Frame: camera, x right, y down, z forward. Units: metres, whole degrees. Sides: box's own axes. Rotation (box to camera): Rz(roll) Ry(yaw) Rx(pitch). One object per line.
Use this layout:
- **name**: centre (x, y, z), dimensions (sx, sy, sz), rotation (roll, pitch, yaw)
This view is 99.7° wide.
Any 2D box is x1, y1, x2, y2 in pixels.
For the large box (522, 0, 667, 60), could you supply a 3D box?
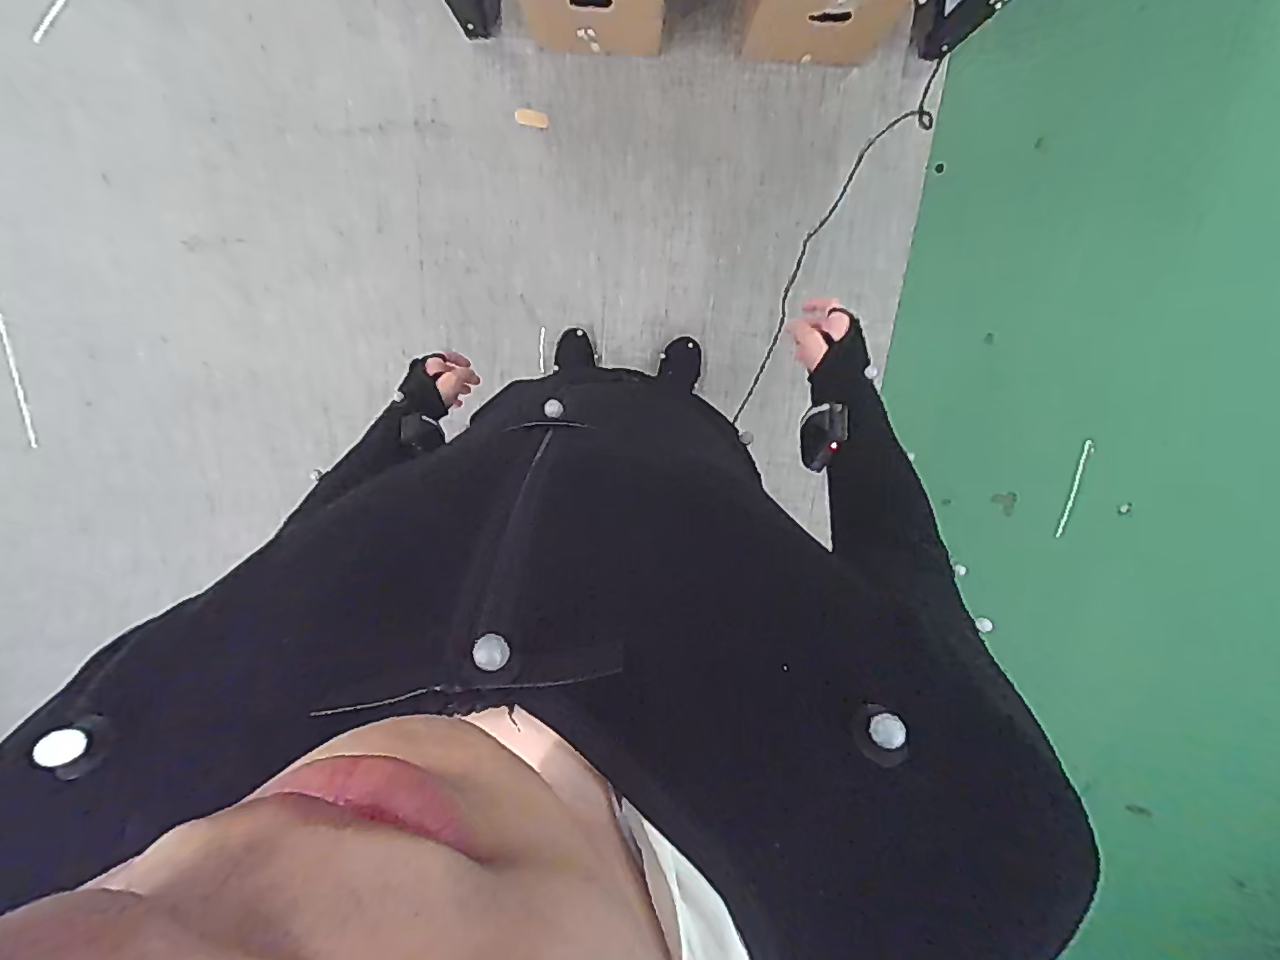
- **large box**: centre (-0.089, -1.194, 1.144), dimensions (0.320, 0.320, 0.408), rotation (3, 105, -2)
